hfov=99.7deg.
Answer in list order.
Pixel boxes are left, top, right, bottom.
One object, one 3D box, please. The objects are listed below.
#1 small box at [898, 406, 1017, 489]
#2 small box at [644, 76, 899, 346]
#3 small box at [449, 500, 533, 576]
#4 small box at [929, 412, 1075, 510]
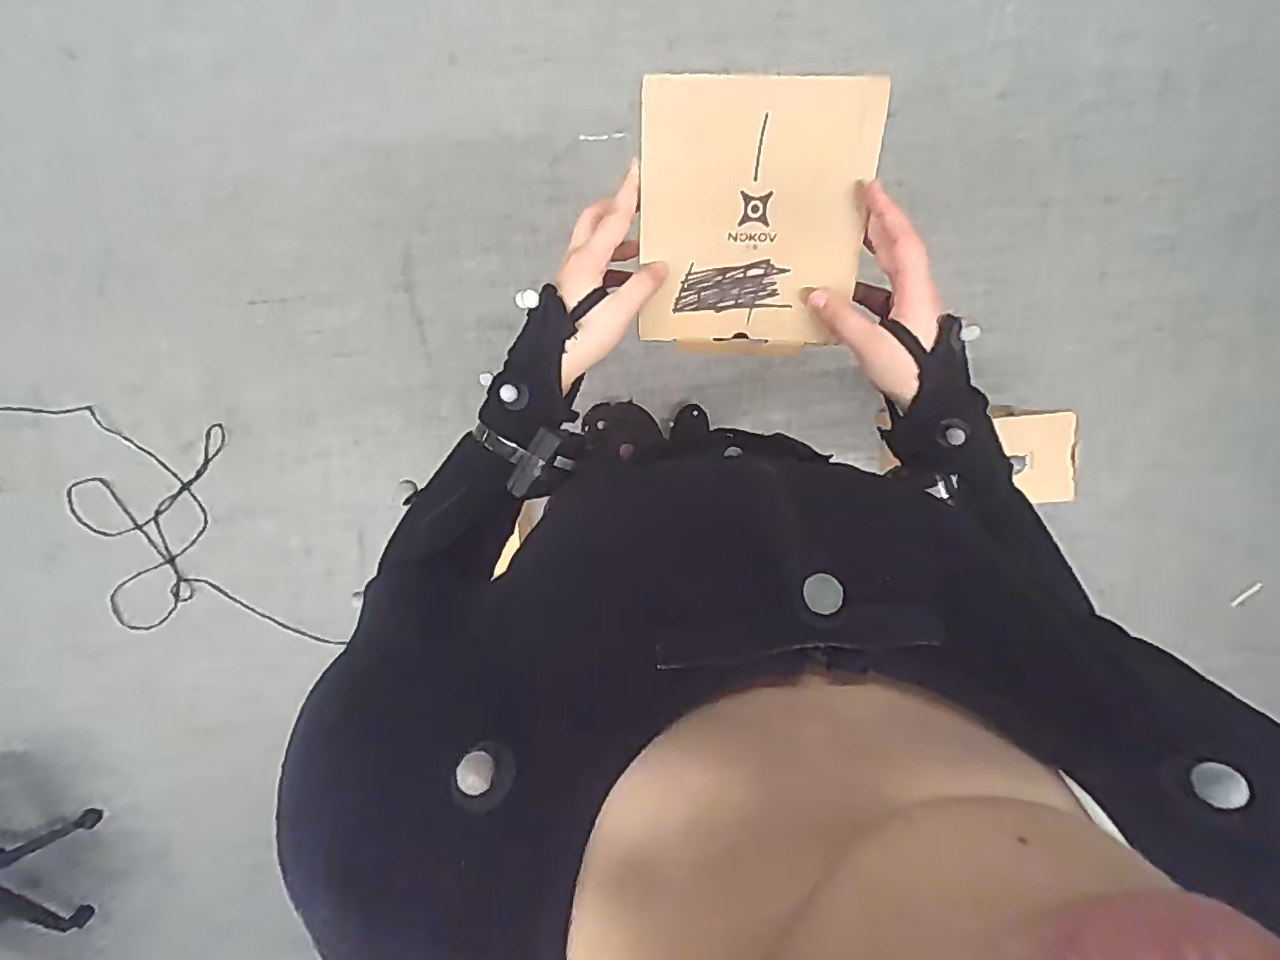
[{"bbox_3d":[0.705,-0.077,1.215,0.179,0.176,0.168,-5,98,3],"label":"small box"},{"bbox_3d":[0.090,-0.224,0.463,0.168,0.176,0.179,1,118,1],"label":"small box"},{"bbox_3d":[-0.385,0.148,1.435,0.179,0.176,0.168,-2,99,2],"label":"small box"},{"bbox_3d":[0.696,-0.044,1.054,0.179,0.176,0.168,-5,98,2],"label":"small box"}]
